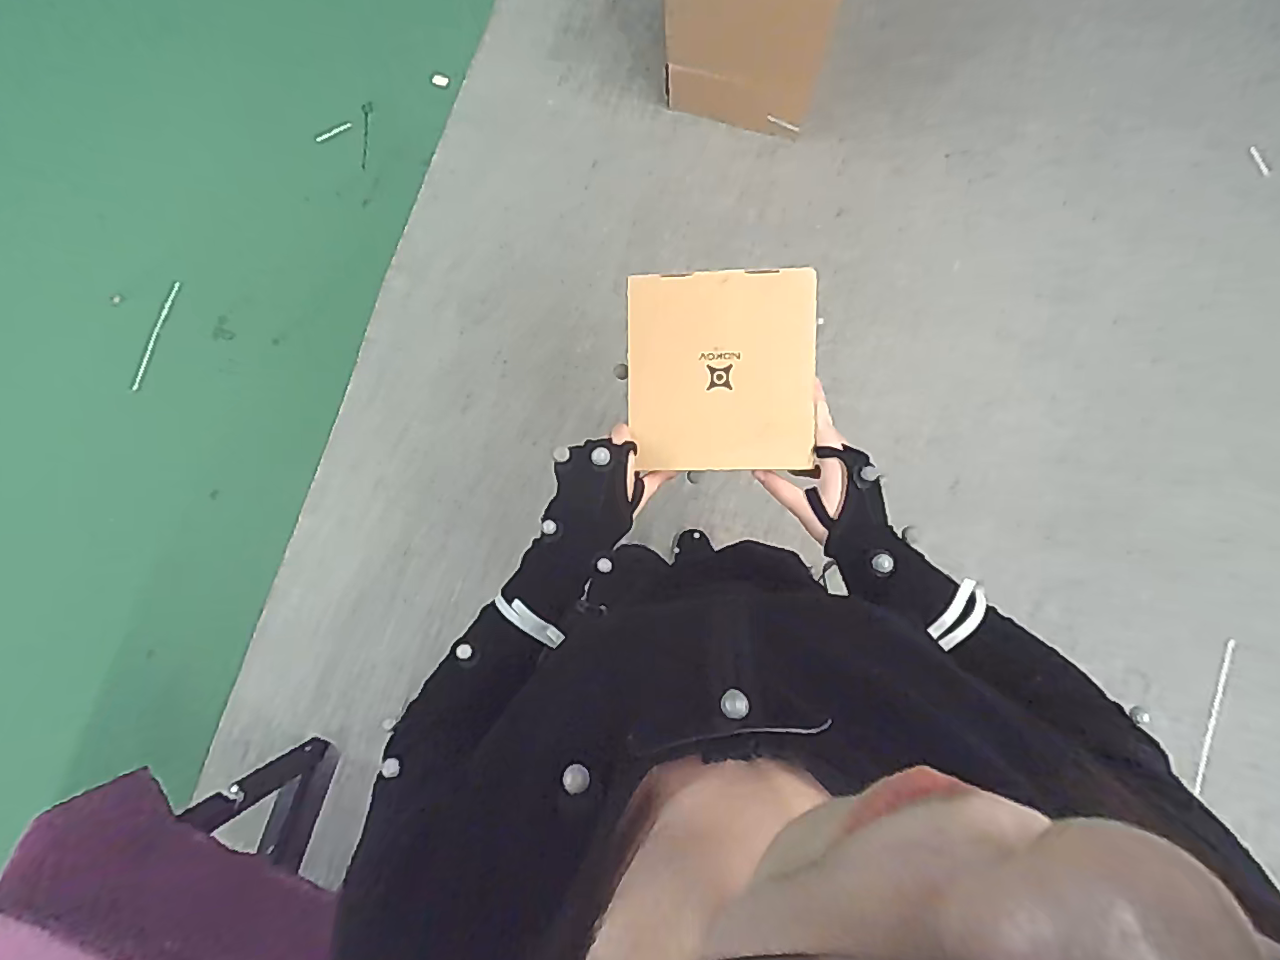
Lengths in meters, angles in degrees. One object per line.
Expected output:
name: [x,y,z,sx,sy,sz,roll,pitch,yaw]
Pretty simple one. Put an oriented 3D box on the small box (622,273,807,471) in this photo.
small box: [0.074,-0.102,0.568,0.168,0.176,0.179,0,93,6]
